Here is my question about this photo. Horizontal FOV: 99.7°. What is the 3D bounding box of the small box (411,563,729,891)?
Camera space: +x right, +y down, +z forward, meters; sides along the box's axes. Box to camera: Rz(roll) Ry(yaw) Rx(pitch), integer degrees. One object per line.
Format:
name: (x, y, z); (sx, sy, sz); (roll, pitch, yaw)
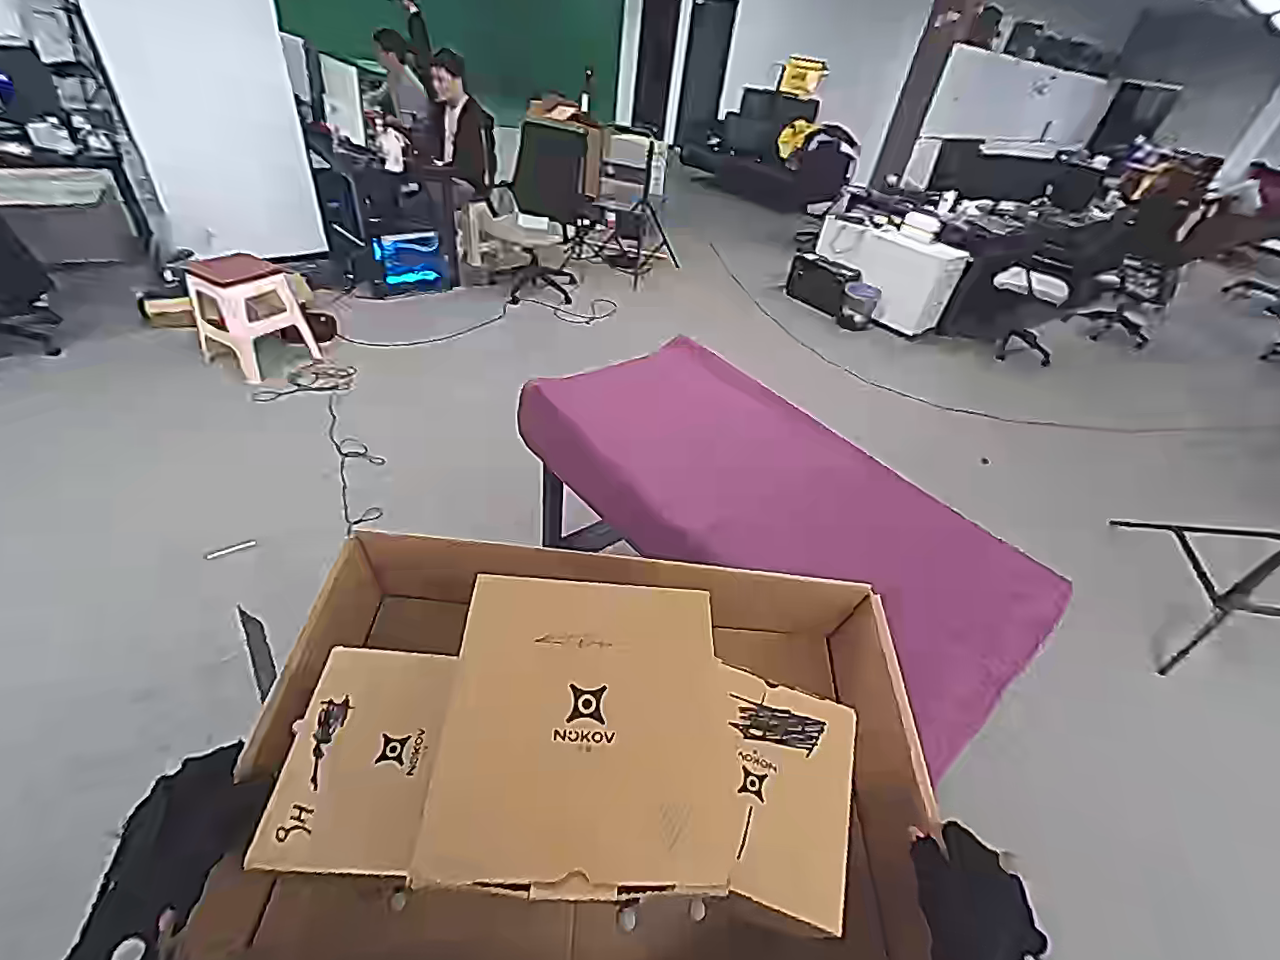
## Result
small box: (-0.043, 0.181, 0.386); (0.168, 0.176, 0.179); (5, 49, -7)
